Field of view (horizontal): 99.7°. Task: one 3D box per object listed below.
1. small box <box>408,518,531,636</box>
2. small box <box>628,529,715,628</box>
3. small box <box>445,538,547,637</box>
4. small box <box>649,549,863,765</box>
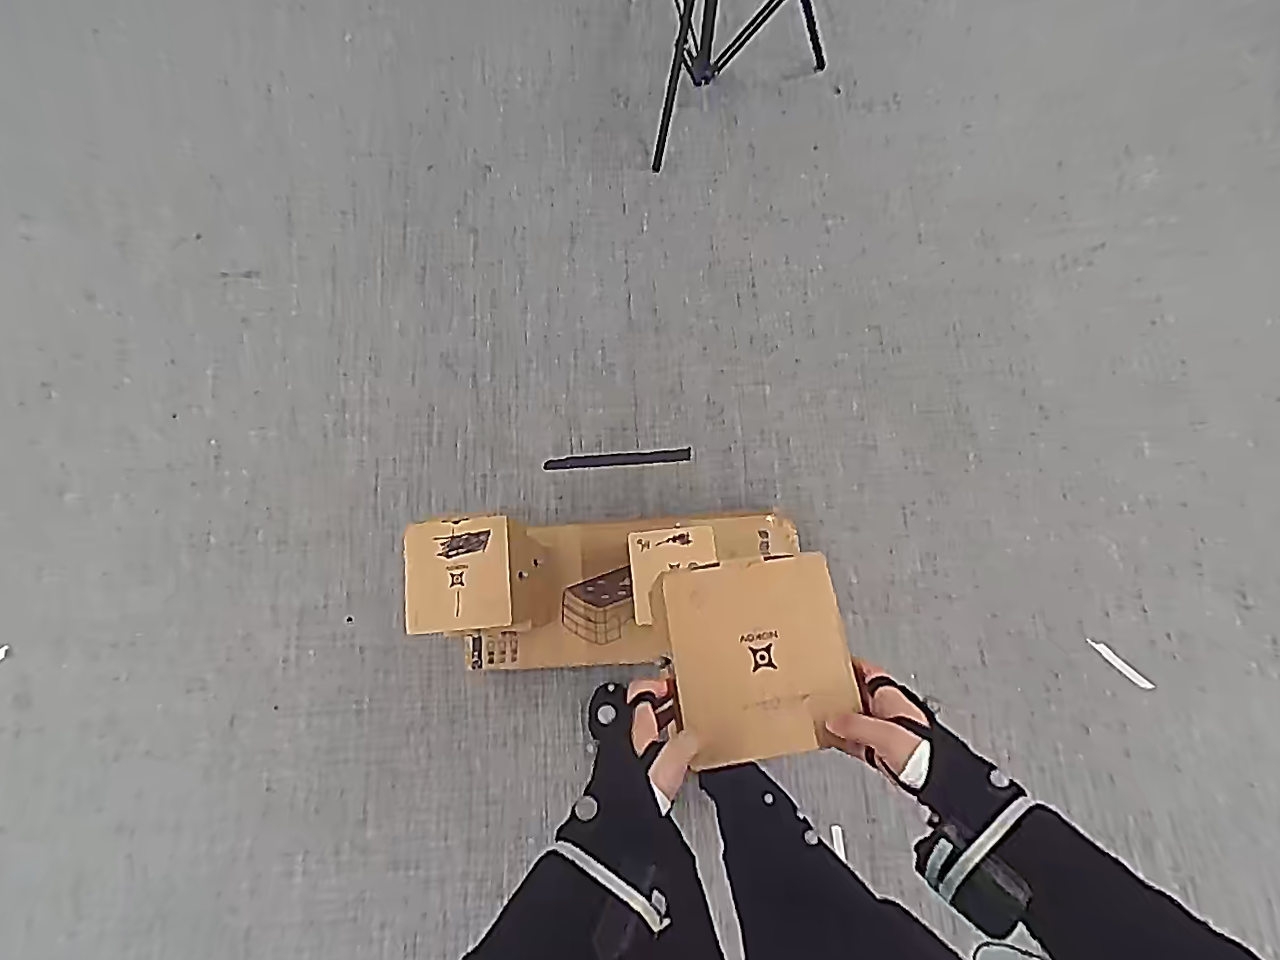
[{"bbox_3d":[-0.285,0.168,0.932,0.168,0.176,0.179,-5,79,-2],"label":"small box"},{"bbox_3d":[0.066,0.198,1.097,0.168,0.176,0.179,-5,79,1],"label":"small box"},{"bbox_3d":[-0.284,0.217,1.089,0.168,0.176,0.179,-3,78,-1],"label":"small box"},{"bbox_3d":[0.105,0.183,0.580,0.168,0.176,0.179,-8,74,-5],"label":"small box"}]
